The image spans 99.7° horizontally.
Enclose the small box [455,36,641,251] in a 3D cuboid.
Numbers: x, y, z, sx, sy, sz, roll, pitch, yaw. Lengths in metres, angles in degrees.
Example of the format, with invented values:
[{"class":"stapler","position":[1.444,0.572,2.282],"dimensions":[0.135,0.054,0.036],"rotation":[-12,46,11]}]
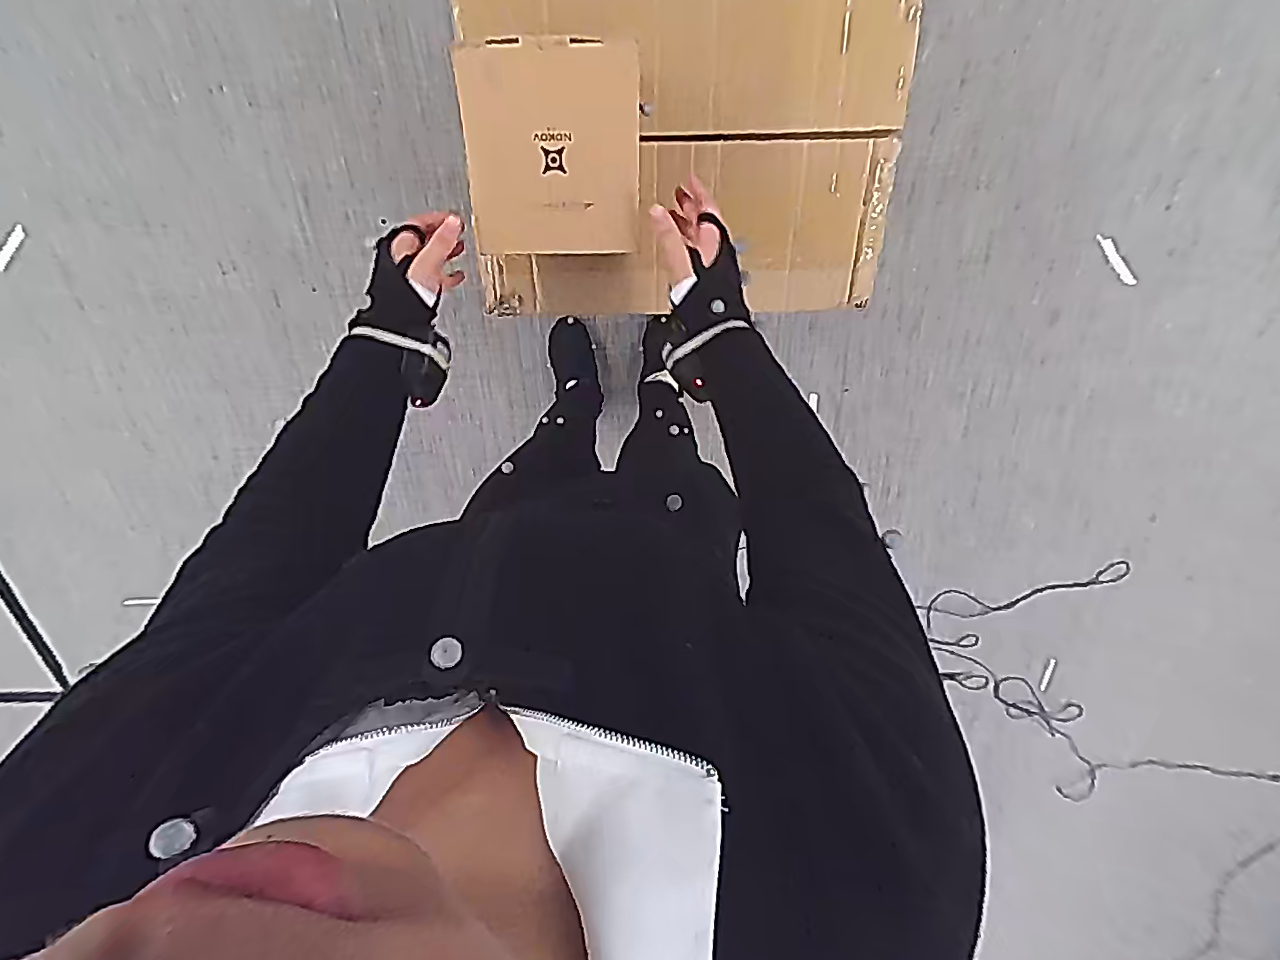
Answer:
[{"class":"small box","position":[-0.083,-0.350,0.586],"dimensions":[0.168,0.176,0.179],"rotation":[-1,119,0]}]
